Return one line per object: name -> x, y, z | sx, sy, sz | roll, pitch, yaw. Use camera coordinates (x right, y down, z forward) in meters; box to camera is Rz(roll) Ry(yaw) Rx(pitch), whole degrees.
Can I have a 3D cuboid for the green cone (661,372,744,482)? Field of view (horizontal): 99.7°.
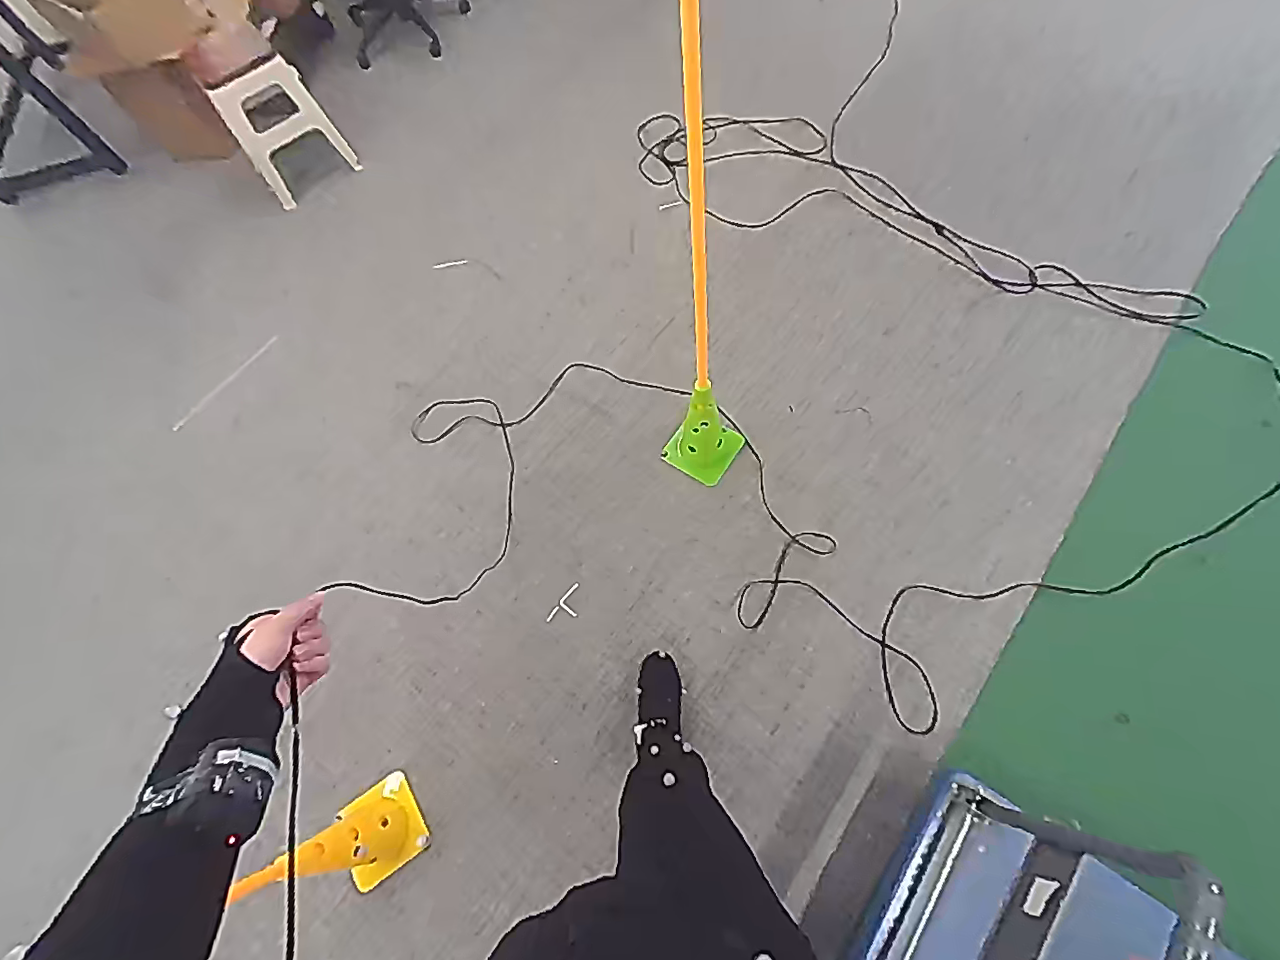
green cone -> 0.177, -0.176, 1.501 | 0.200, 0.368, 0.202 | 31, 72, 17
